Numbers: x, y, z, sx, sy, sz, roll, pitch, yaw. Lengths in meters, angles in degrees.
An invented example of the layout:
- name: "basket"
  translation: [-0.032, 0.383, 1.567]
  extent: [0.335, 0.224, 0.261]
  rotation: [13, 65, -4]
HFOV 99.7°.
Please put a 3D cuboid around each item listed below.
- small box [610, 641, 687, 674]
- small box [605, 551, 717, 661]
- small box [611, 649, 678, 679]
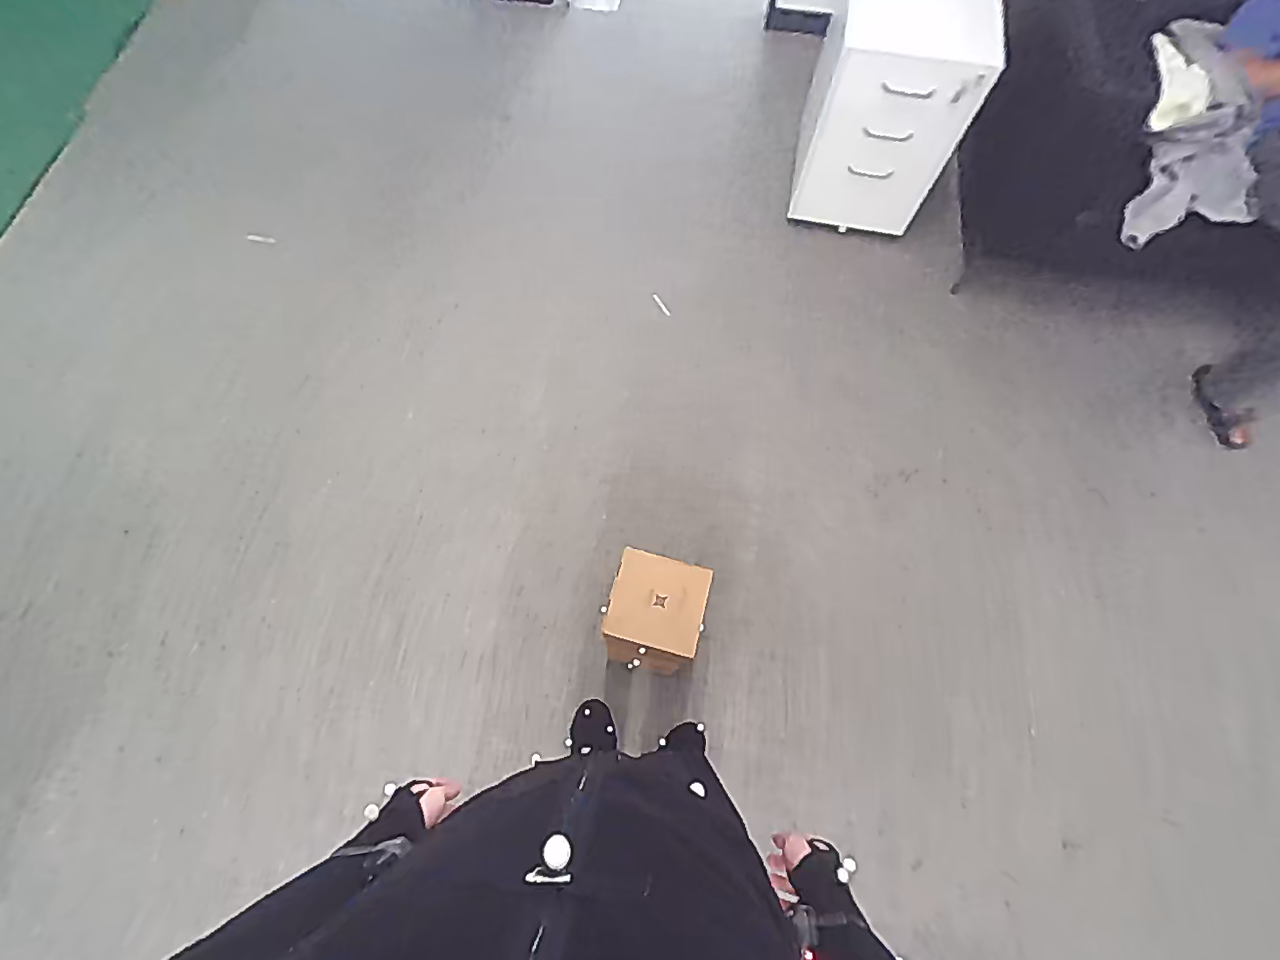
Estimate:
- name: "small box"
  translation: [0.036, 0.324, 1.216]
  extent: [0.168, 0.176, 0.179]
  rotation: [16, 70, 5]
- name: "small box"
  translation: [0.039, 0.257, 1.069]
  extent: [0.179, 0.176, 0.168]
  rotation: [15, 70, 3]
- name: "small box"
  translation: [0.028, 0.393, 1.366]
  extent: [0.168, 0.176, 0.179]
  rotation: [15, 68, 4]
